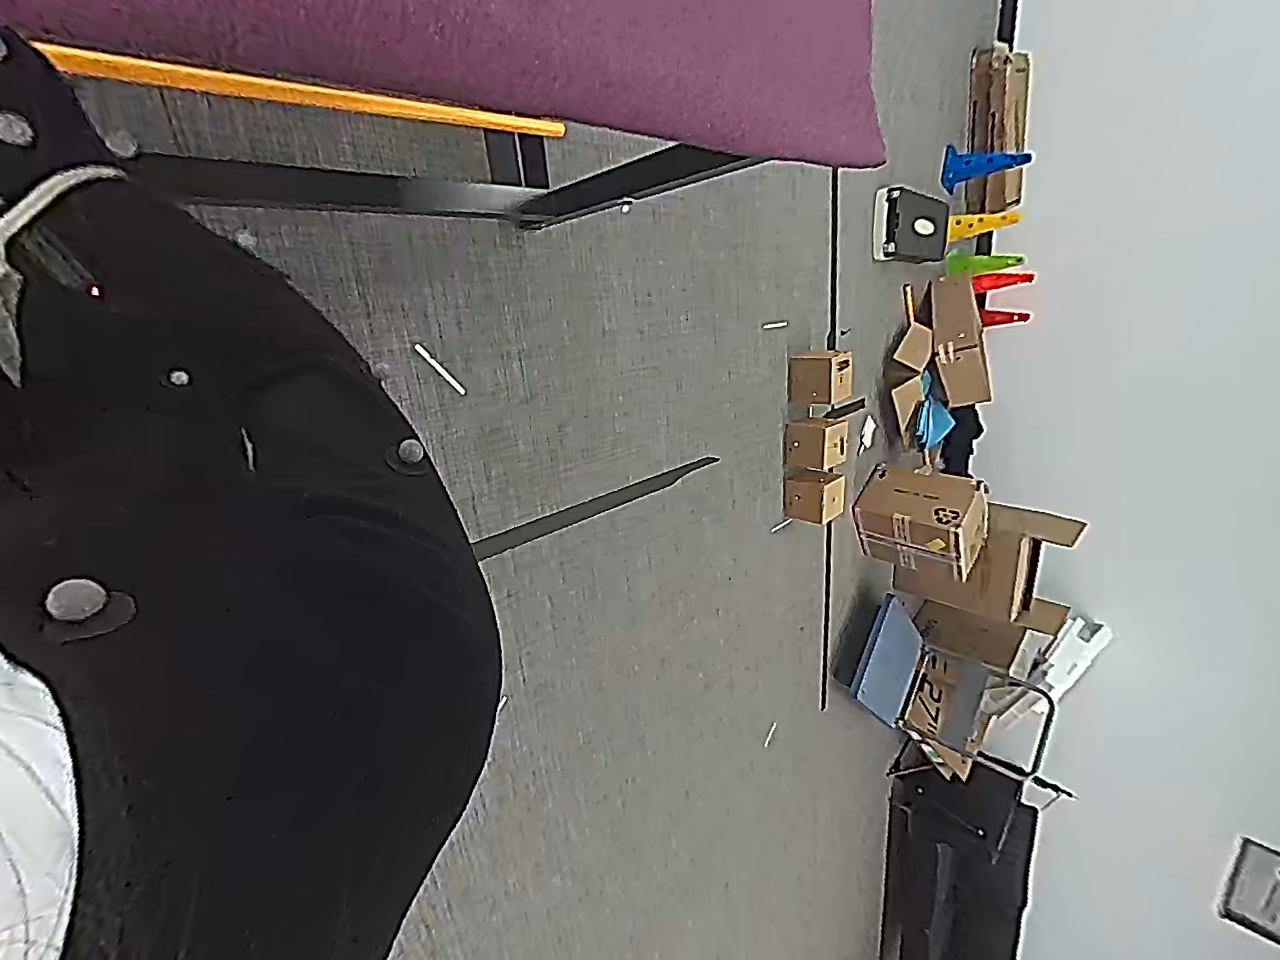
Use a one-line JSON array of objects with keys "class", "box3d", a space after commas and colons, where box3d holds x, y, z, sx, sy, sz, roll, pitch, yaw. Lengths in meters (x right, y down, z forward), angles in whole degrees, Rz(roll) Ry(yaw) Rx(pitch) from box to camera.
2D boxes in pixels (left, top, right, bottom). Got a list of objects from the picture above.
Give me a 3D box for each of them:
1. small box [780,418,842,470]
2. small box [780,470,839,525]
[{"class": "small box", "box3d": [0.675, -0.148, 2.141, 0.179, 0.176, 0.168, -18, 112, -41]}, {"class": "small box", "box3d": [0.693, 0.065, 2.218, 0.179, 0.176, 0.168, -21, 115, -41]}]
